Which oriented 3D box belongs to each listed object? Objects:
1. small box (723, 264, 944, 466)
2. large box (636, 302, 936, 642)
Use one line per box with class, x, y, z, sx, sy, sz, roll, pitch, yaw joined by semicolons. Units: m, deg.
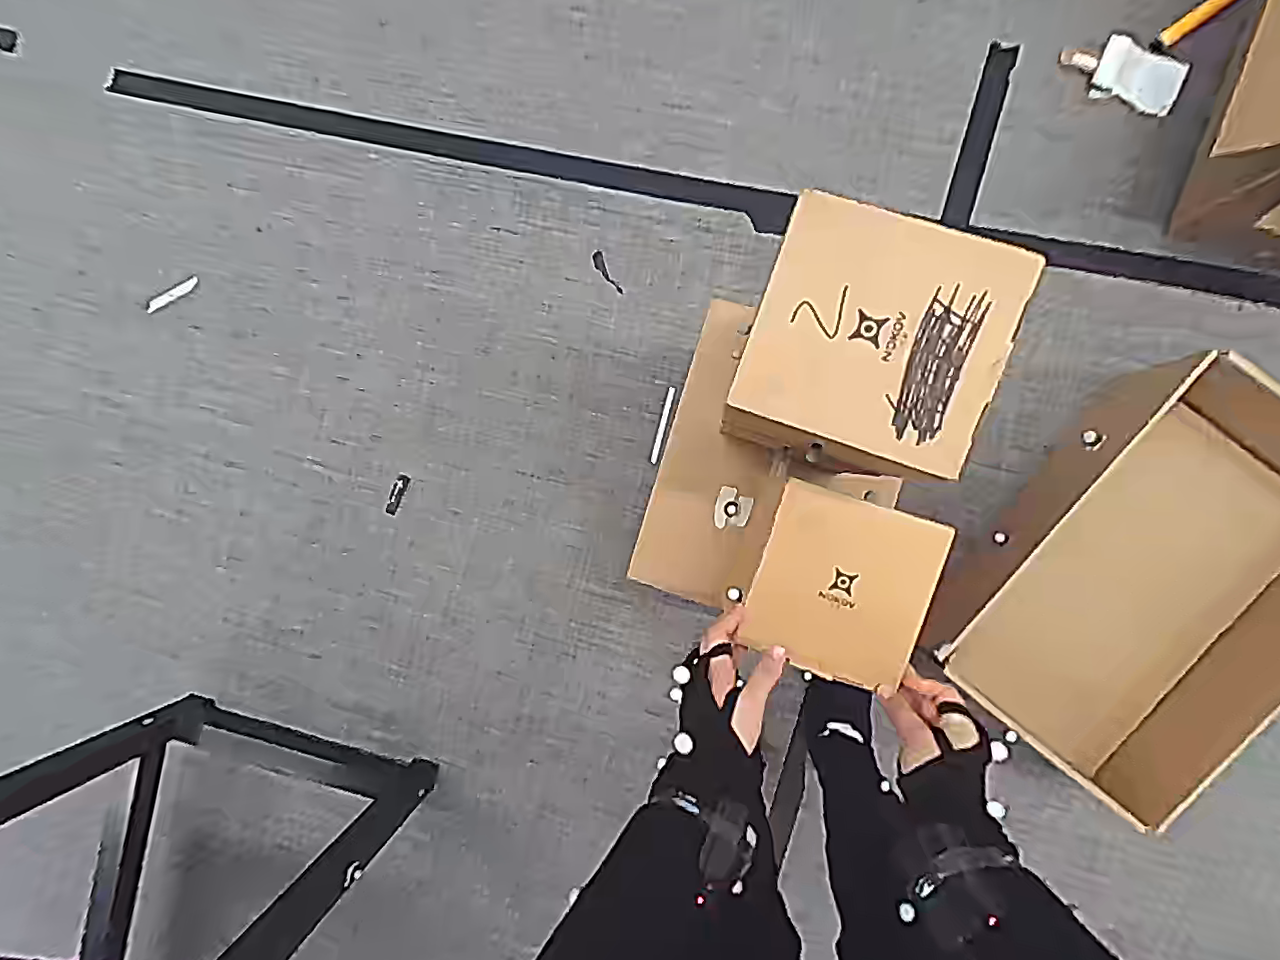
small box;0.202;-0.119;0.624;0.179;0.176;0.168;19;95;6
large box;0.207;-0.019;0.873;0.320;0.320;0.408;16;94;7
